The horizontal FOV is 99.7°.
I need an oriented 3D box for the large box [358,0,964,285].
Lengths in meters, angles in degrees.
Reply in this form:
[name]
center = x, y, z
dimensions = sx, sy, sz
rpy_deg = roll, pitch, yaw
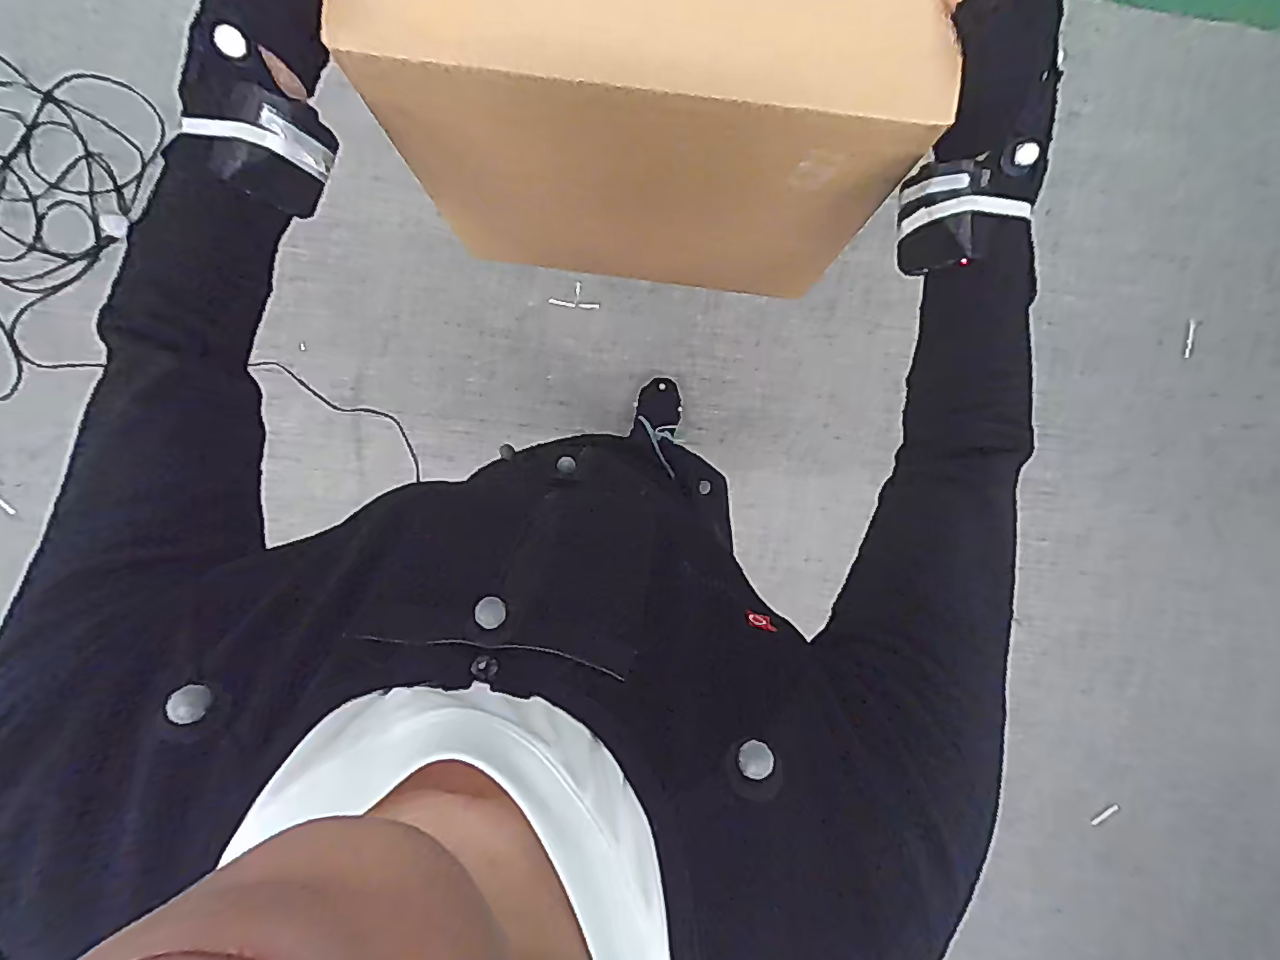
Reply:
[large box]
center = 0.021, -0.407, 0.507
dimensions = 0.408, 0.320, 0.320
rpy_deg = 6, 89, -2
